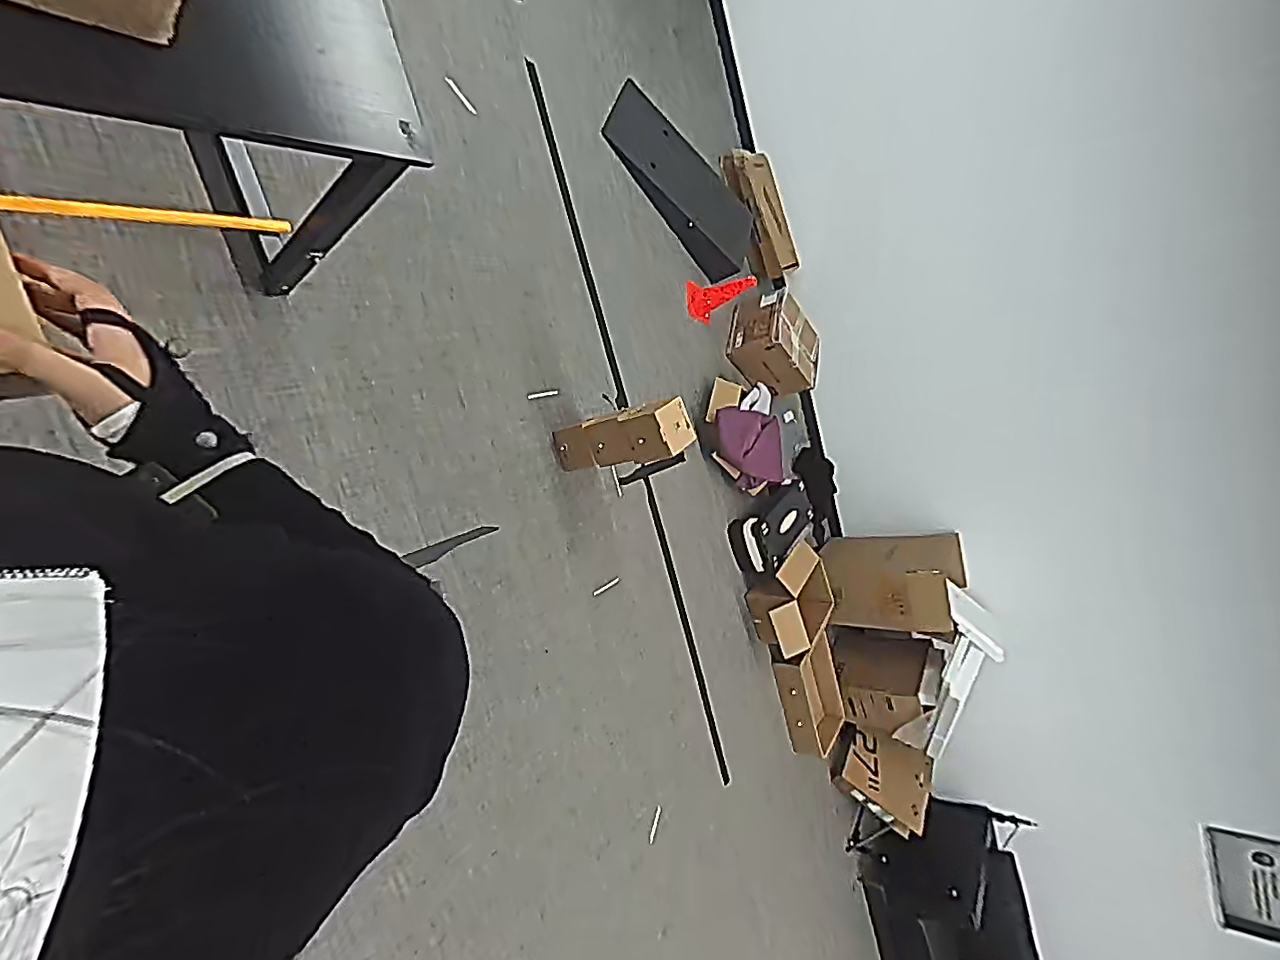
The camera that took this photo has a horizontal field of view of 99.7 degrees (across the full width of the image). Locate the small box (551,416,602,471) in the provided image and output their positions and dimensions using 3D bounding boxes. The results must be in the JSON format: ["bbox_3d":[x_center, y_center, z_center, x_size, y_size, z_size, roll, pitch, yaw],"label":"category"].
[{"bbox_3d":[-0.208,-0.142,2.074,0.179,0.176,0.168,-28,104,-47],"label":"small box"}]

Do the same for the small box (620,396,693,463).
[{"bbox_3d":[0.051,-0.171,1.872,0.179,0.176,0.168,-38,111,-46],"label":"small box"}]

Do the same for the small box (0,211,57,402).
[{"bbox_3d":[-0.511,-0.126,0.333,0.179,0.176,0.168,-24,108,-46],"label":"small box"}]

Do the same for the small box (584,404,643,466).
[{"bbox_3d":[-0.074,-0.163,1.979,0.179,0.176,0.168,-35,108,-47],"label":"small box"}]
